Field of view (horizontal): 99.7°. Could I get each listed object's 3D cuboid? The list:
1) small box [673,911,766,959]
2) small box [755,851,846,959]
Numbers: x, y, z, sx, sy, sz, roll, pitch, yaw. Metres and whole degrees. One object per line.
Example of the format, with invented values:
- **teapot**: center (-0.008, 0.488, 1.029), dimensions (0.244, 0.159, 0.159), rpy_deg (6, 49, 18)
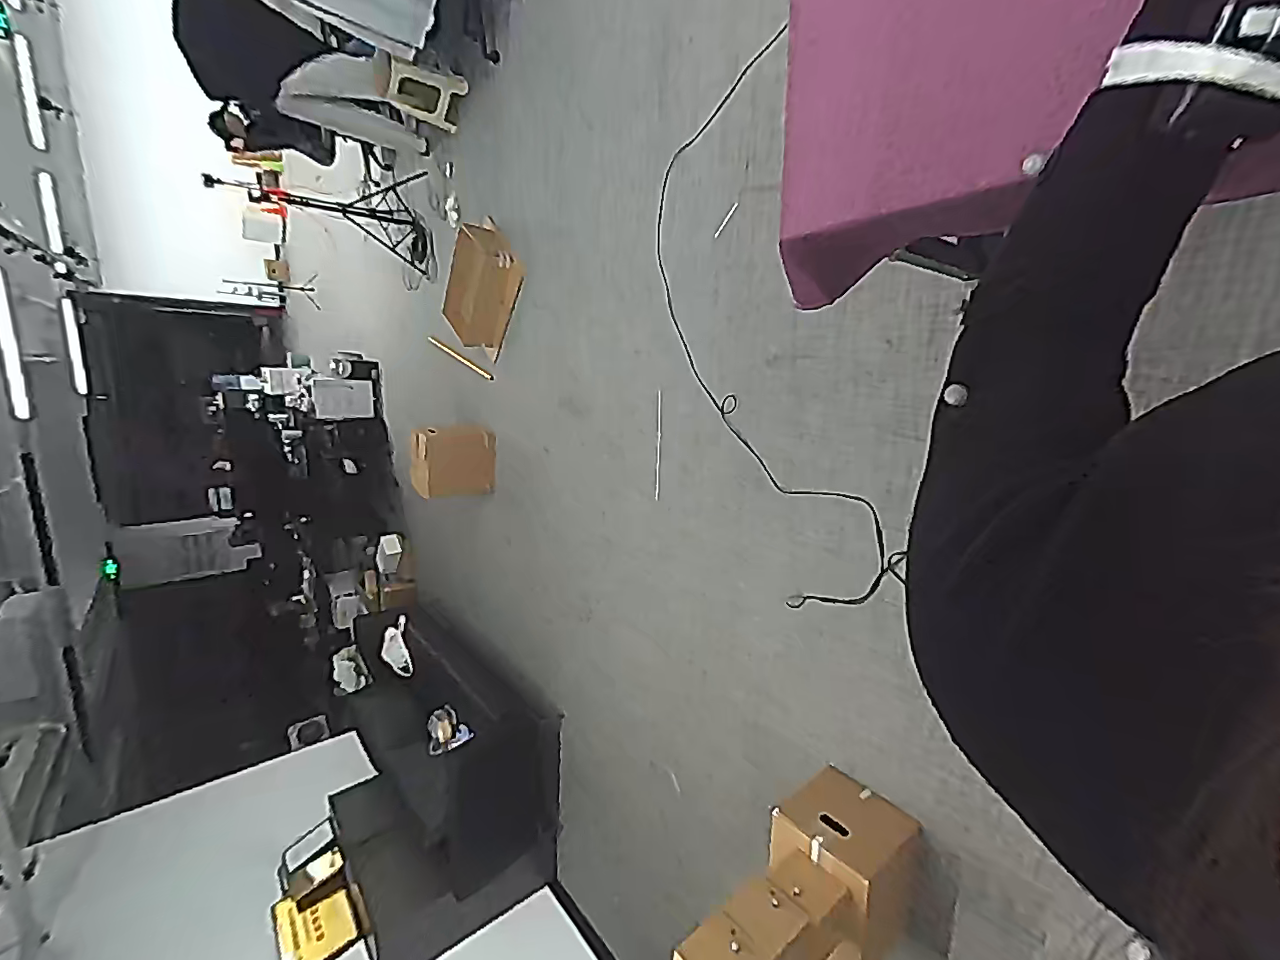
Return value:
- **small box**: center (0.189, 1.200, 1.287), dimensions (0.168, 0.176, 0.179), rpy_deg (16, 107, 47)
- **small box**: center (0.443, 1.178, 1.496), dimensions (0.179, 0.176, 0.168), rpy_deg (11, 105, 48)
